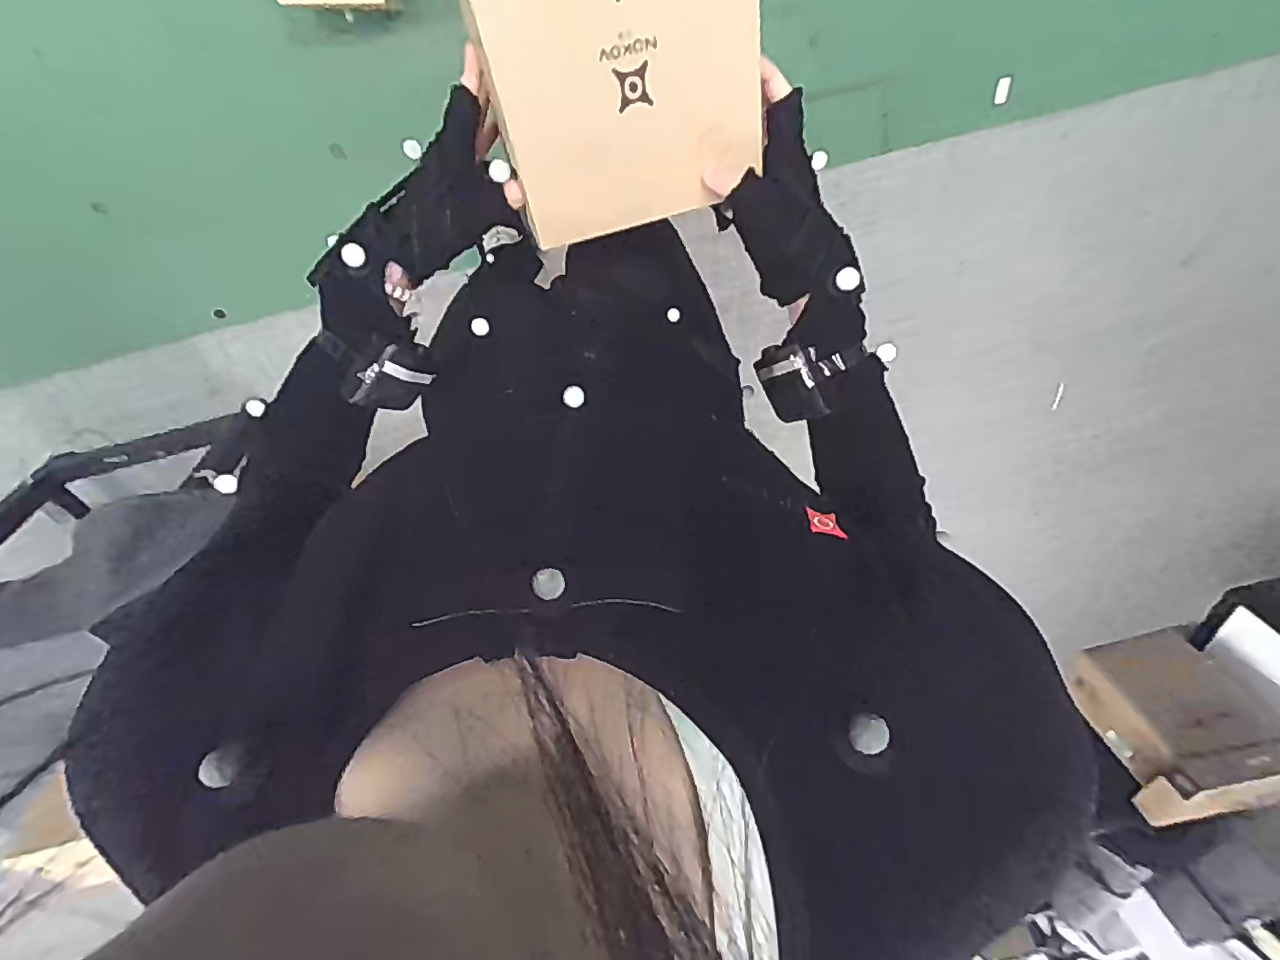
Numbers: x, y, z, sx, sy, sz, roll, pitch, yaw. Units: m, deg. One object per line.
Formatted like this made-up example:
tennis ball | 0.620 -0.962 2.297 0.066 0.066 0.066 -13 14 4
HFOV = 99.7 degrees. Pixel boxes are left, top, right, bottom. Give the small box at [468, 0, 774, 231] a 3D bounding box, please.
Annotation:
small box | -0.021 -0.300 0.372 0.168 0.176 0.179 -18 131 -7

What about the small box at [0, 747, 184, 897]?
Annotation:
small box | -0.980 0.611 0.975 0.179 0.176 0.168 -17 130 0
